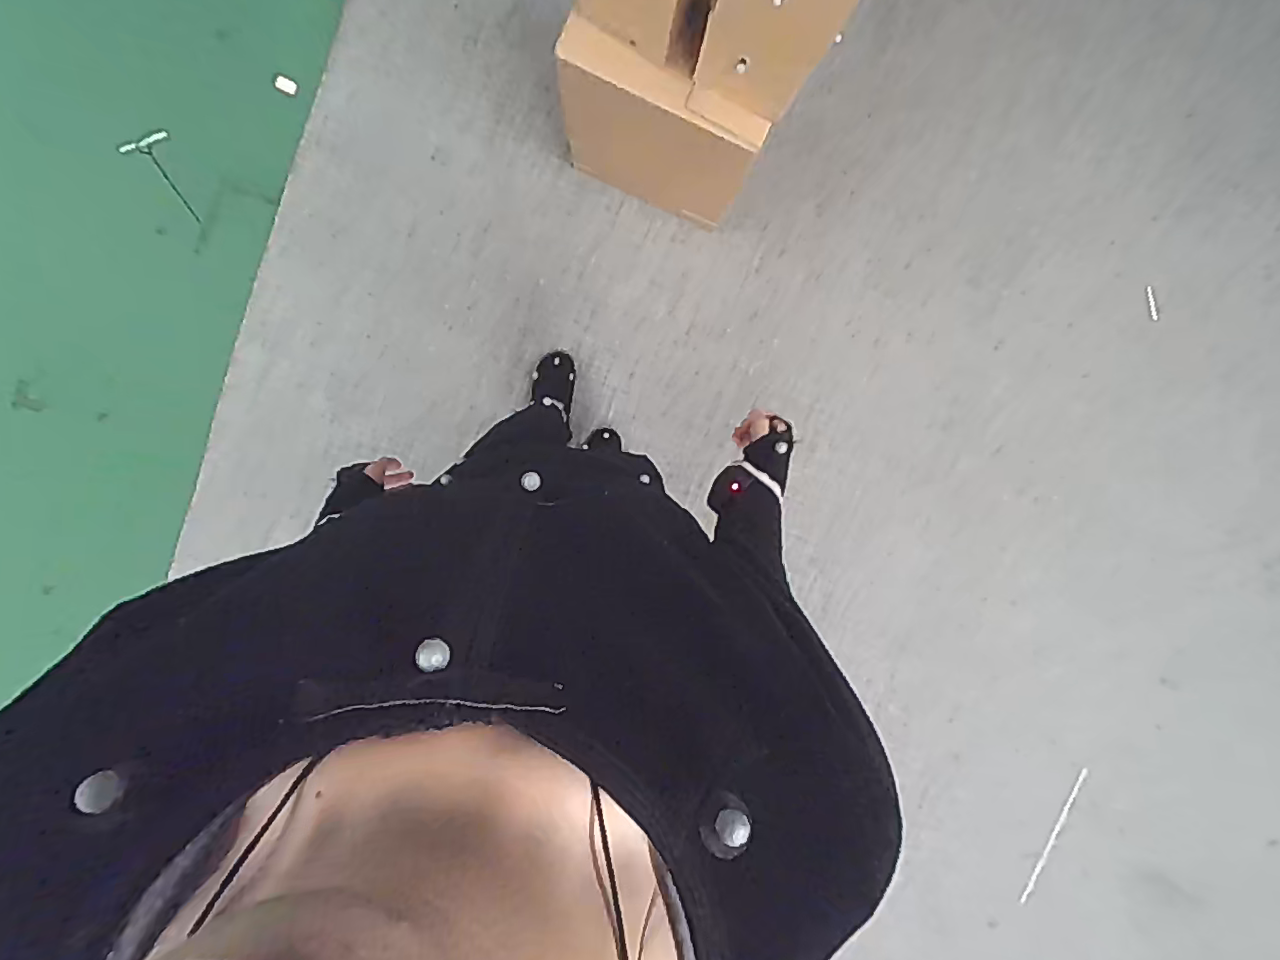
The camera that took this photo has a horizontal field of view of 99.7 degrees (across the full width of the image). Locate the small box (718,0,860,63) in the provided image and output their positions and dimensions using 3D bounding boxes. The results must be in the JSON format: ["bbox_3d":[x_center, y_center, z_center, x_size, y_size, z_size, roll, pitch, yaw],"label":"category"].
[{"bbox_3d":[0.226,-0.717,0.728,0.179,0.176,0.168,22,95,-4],"label":"small box"}]
